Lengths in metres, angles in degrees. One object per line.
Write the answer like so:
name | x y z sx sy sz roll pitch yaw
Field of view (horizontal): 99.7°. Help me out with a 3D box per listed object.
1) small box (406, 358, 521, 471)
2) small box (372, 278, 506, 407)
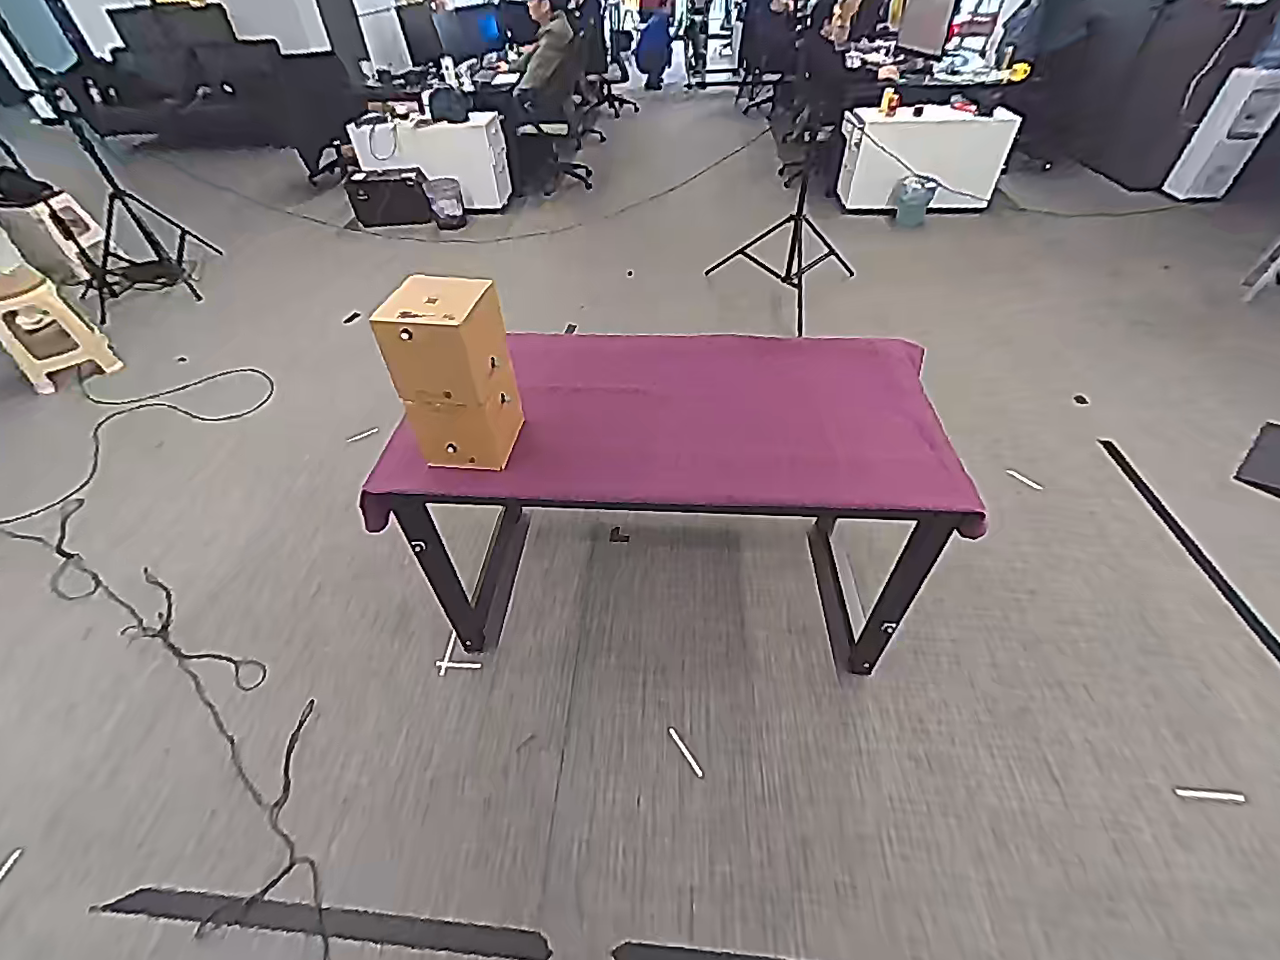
small box | -0.355 -0.142 1.131 0.168 0.176 0.179 4 45 5
small box | -0.362 -0.260 1.018 0.168 0.176 0.179 5 44 7
